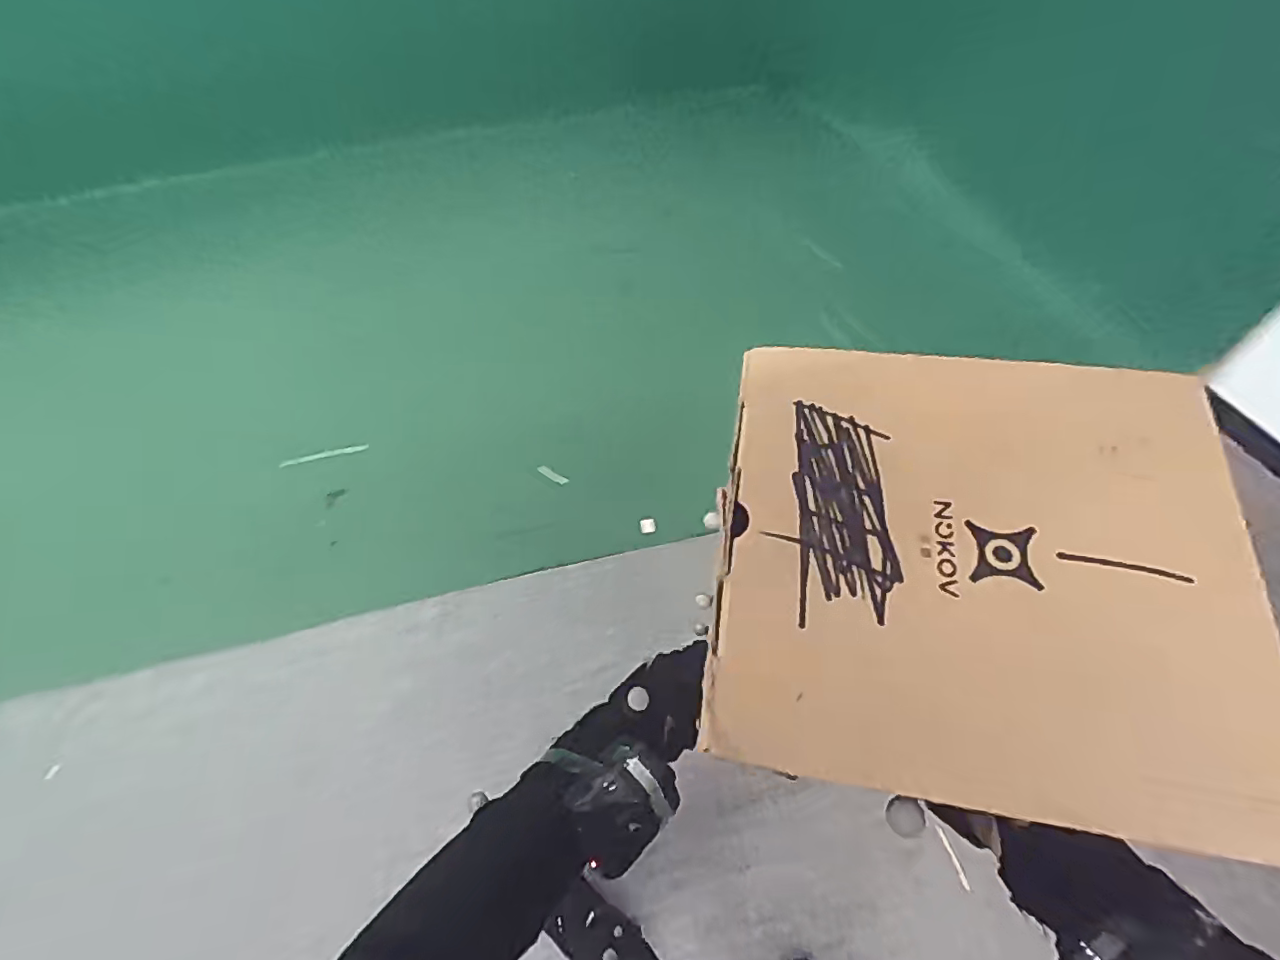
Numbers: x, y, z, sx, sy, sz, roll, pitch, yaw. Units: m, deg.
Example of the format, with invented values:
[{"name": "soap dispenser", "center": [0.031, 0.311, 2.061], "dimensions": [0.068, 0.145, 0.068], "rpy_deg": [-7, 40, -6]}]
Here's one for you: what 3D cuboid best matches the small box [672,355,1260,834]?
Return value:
[{"name": "small box", "center": [0.116, 0.058, 0.275], "dimensions": [0.179, 0.176, 0.168], "rpy_deg": [6, 65, 9]}]
